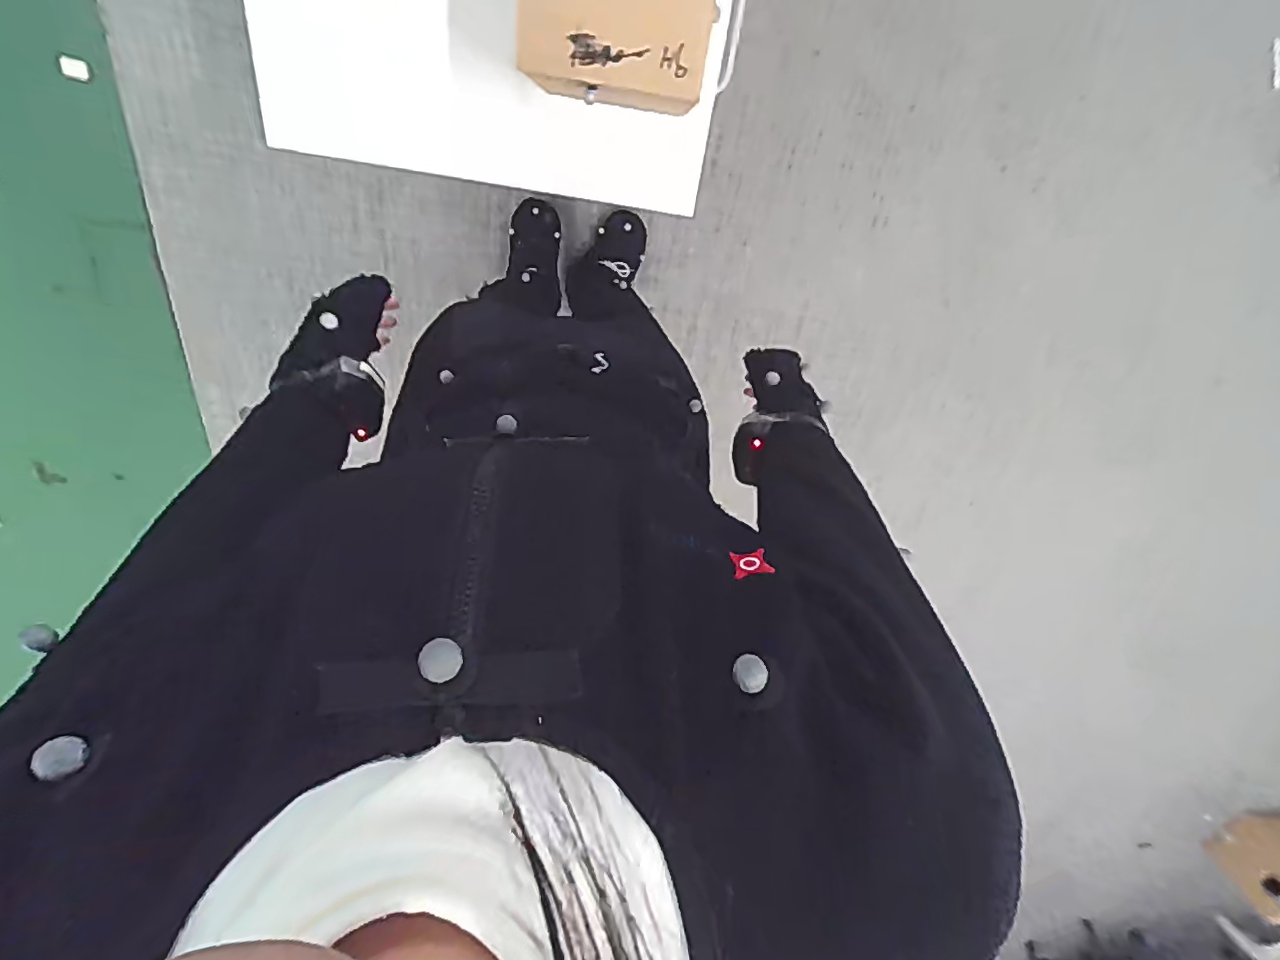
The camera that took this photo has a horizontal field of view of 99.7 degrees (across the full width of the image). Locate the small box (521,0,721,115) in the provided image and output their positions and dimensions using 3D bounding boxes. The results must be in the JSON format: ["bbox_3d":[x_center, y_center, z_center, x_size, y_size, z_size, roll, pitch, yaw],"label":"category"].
[{"bbox_3d":[-0.011,-0.464,0.504,0.168,0.176,0.179,7,120,-4],"label":"small box"}]
